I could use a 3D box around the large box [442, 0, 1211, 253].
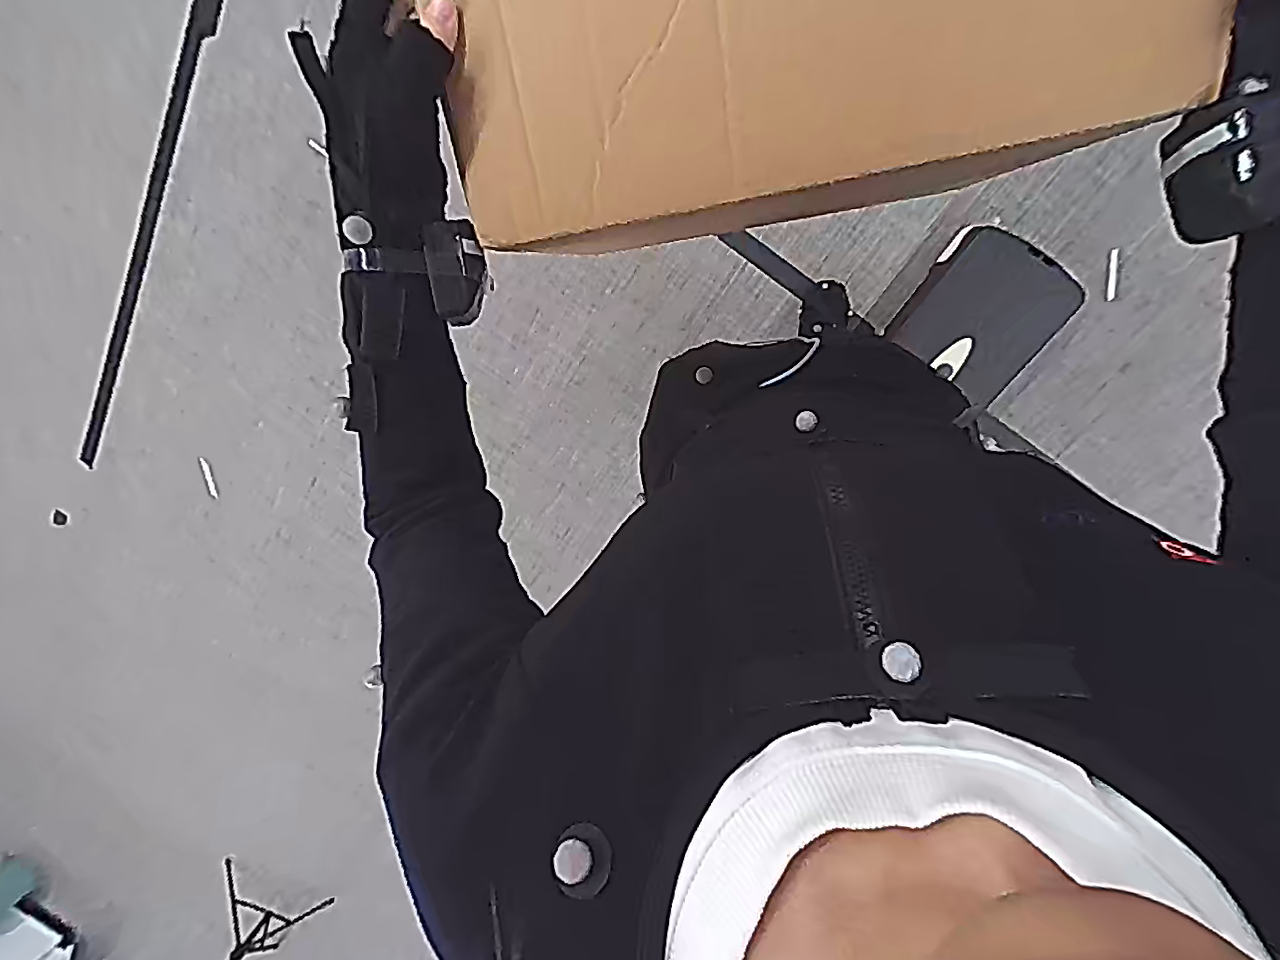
[{"bbox_3d":[0.092,-0.378,0.409,0.408,0.320,0.320,-7,111,11],"label":"large box"}]
